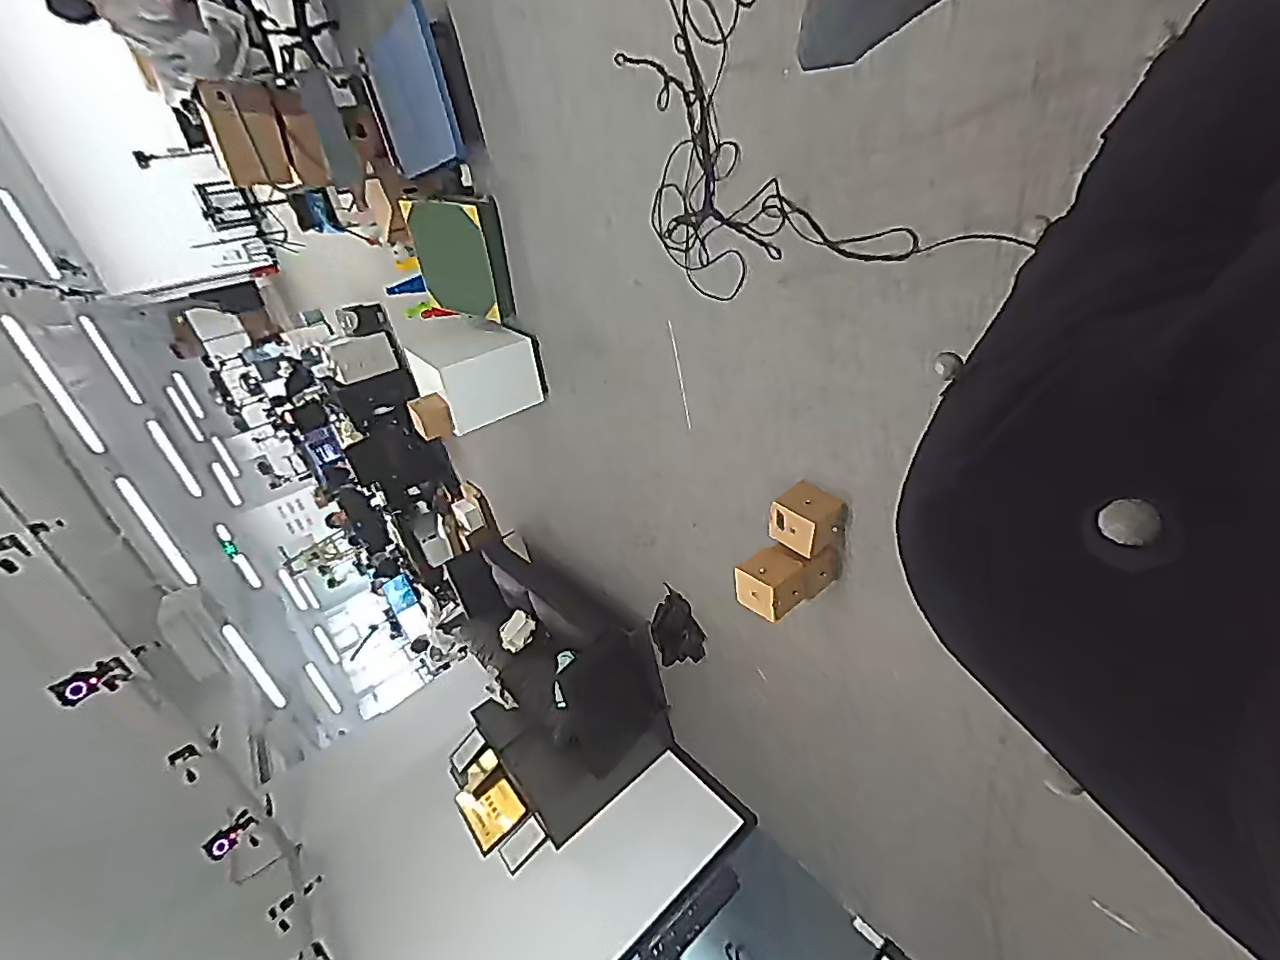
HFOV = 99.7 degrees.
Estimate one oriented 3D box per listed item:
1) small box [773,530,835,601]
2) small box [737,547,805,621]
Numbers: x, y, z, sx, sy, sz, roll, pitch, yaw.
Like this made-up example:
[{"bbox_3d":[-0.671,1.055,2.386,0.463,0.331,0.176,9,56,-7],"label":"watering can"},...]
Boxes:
[{"bbox_3d":[0.606,0.310,2.011,0.179,0.176,0.168,25,135,46],"label":"small box"},{"bbox_3d":[0.470,0.364,1.937,0.179,0.176,0.168,25,135,46],"label":"small box"}]
